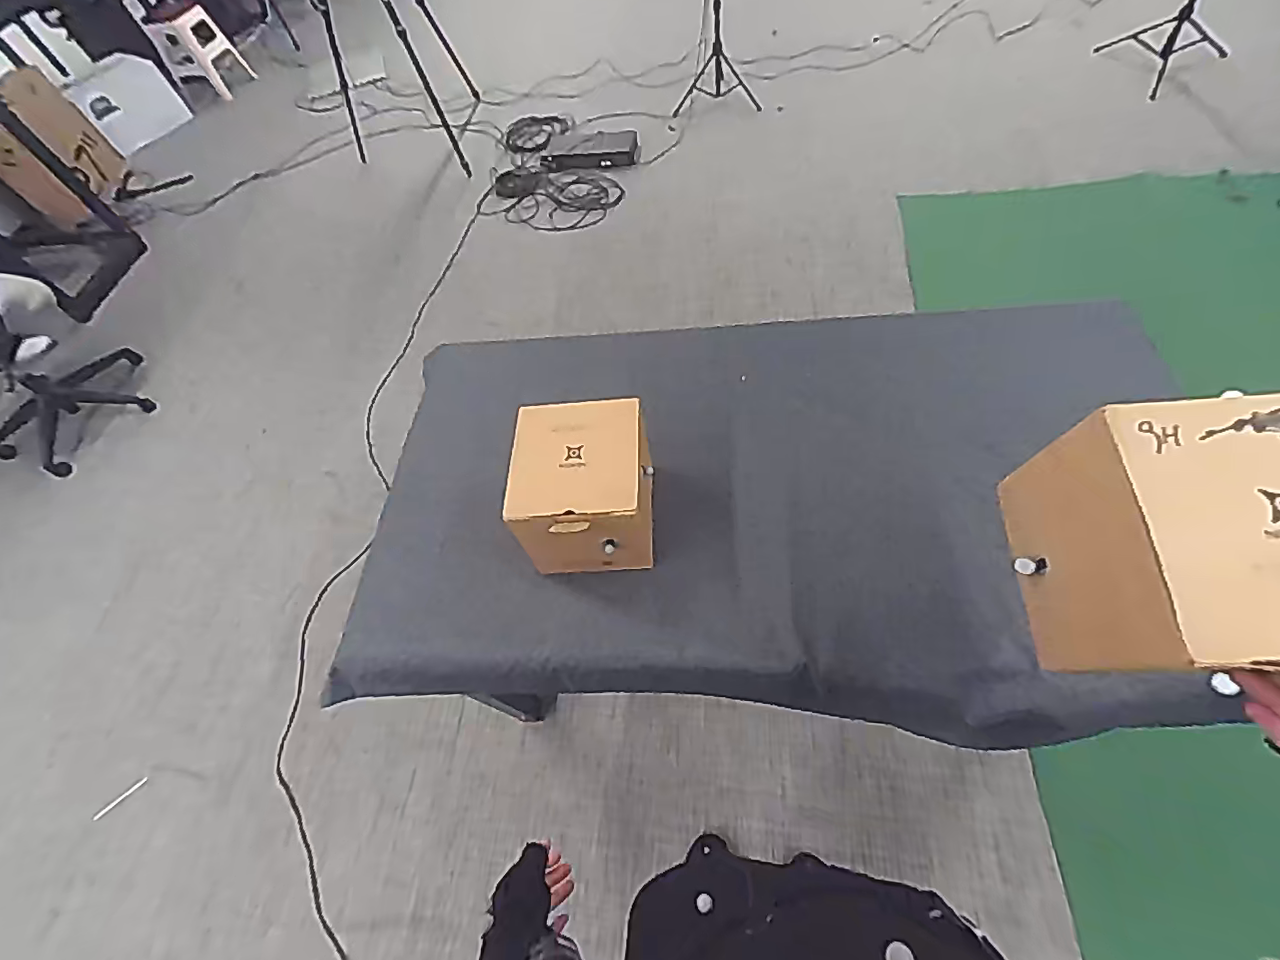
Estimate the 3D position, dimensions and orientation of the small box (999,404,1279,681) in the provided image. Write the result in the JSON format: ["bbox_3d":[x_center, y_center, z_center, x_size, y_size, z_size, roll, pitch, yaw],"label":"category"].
[{"bbox_3d":[0.414,0.058,0.412,0.168,0.176,0.179,-3,69,7],"label":"small box"}]

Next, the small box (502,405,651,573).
[{"bbox_3d":[-0.074,0.021,0.744,0.168,0.176,0.179,-3,56,5],"label":"small box"}]
